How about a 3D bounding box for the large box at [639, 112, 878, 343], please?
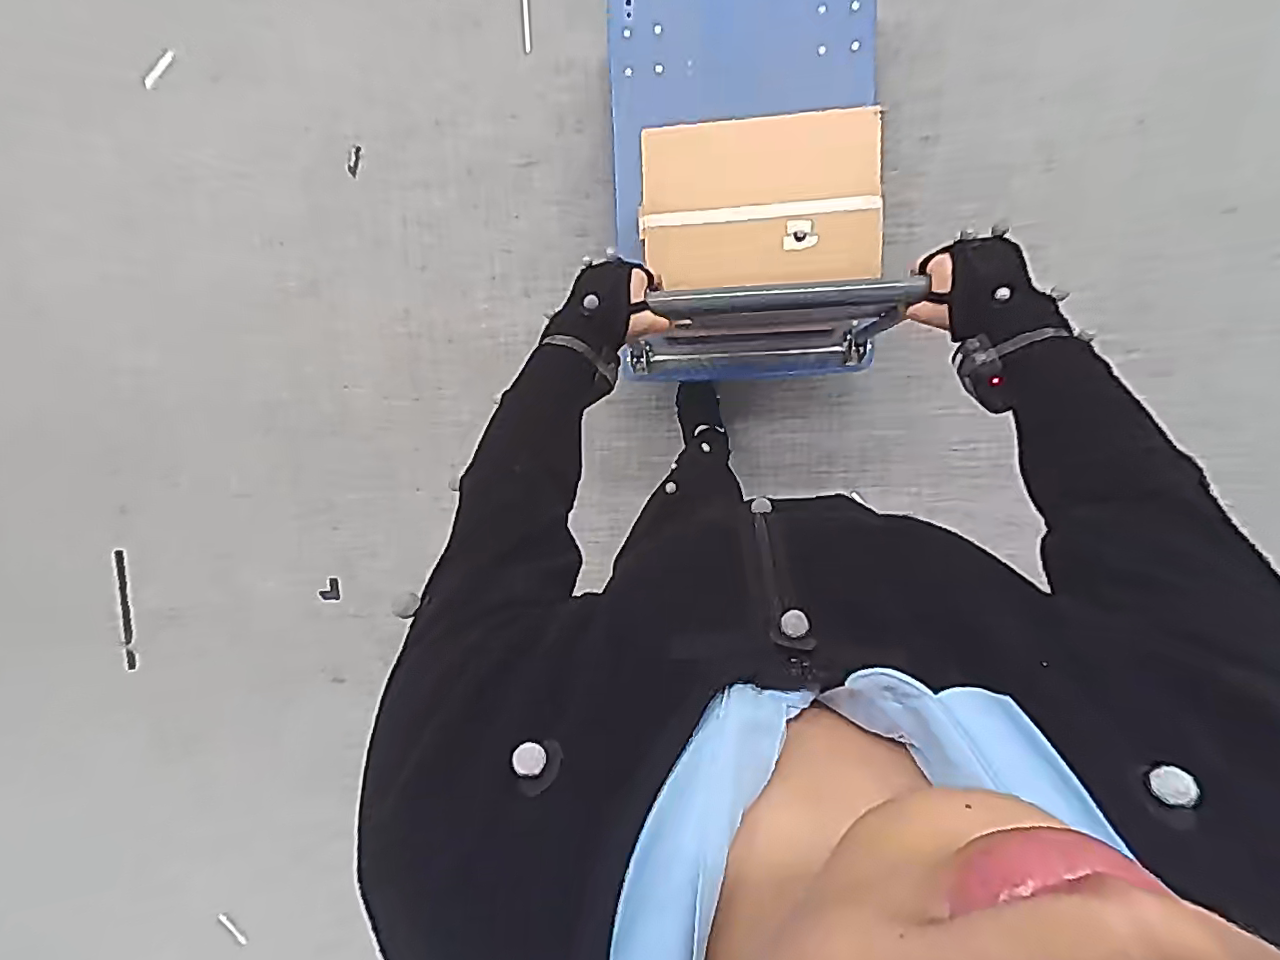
[{"bbox_3d":[0.217,-0.466,1.081,0.408,0.320,0.320,-2,96,6],"label":"large box"}]
